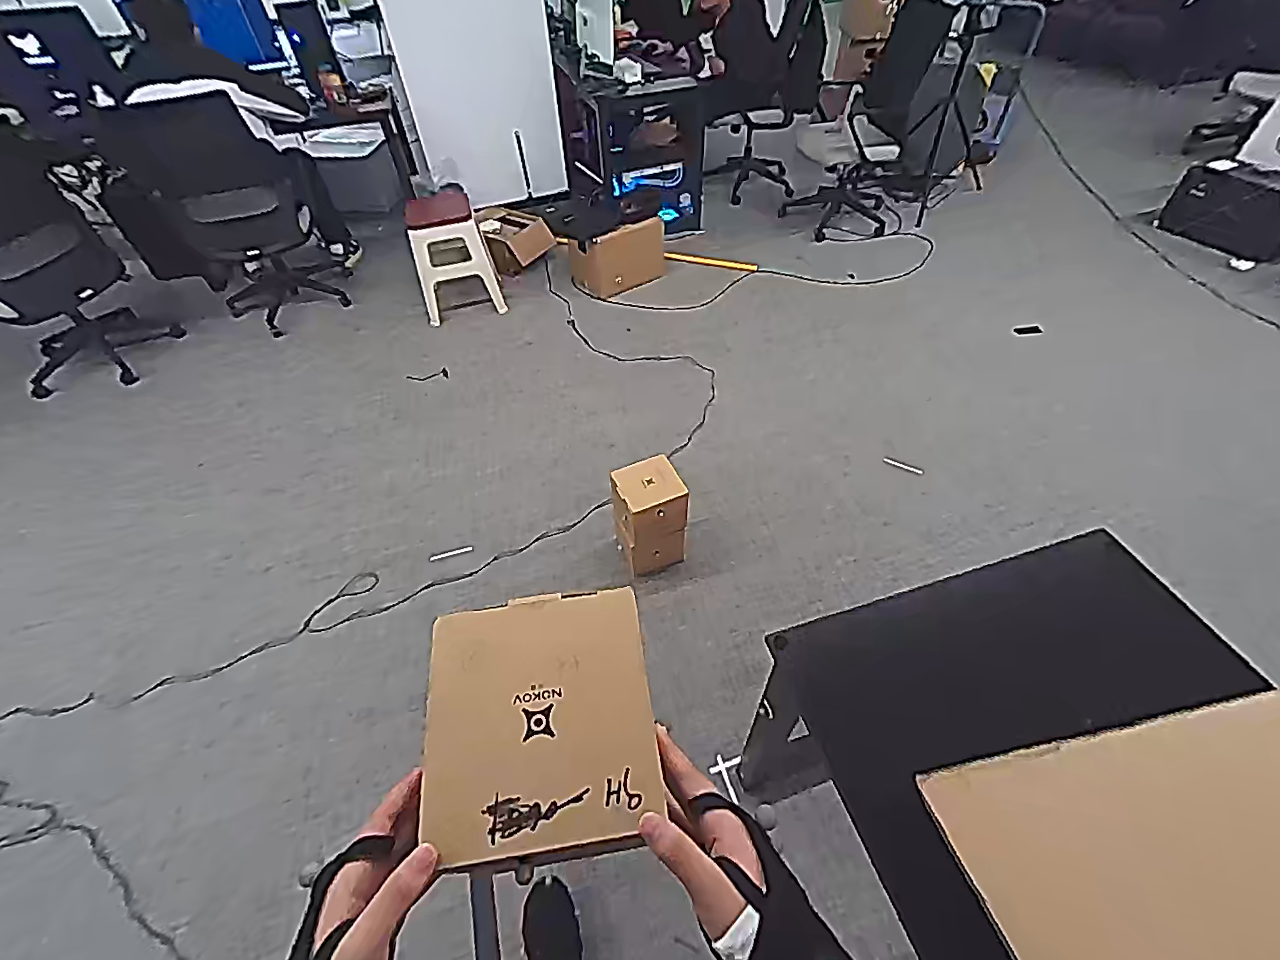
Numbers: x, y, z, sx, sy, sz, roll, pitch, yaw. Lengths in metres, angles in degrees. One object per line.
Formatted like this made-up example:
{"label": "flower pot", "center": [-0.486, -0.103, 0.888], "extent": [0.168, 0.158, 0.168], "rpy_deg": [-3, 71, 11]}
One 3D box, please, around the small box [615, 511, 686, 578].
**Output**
{"label": "small box", "center": [0.032, 0.182, 1.708], "extent": [0.179, 0.176, 0.168], "rpy_deg": [-18, 50, -12]}

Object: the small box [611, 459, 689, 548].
{"label": "small box", "center": [0.030, 0.072, 1.589], "extent": [0.179, 0.176, 0.168], "rpy_deg": [-20, 51, -15]}

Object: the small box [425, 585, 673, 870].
{"label": "small box", "center": [-0.068, 0.216, 0.468], "extent": [0.168, 0.176, 0.179], "rpy_deg": [-9, 53, -3]}
